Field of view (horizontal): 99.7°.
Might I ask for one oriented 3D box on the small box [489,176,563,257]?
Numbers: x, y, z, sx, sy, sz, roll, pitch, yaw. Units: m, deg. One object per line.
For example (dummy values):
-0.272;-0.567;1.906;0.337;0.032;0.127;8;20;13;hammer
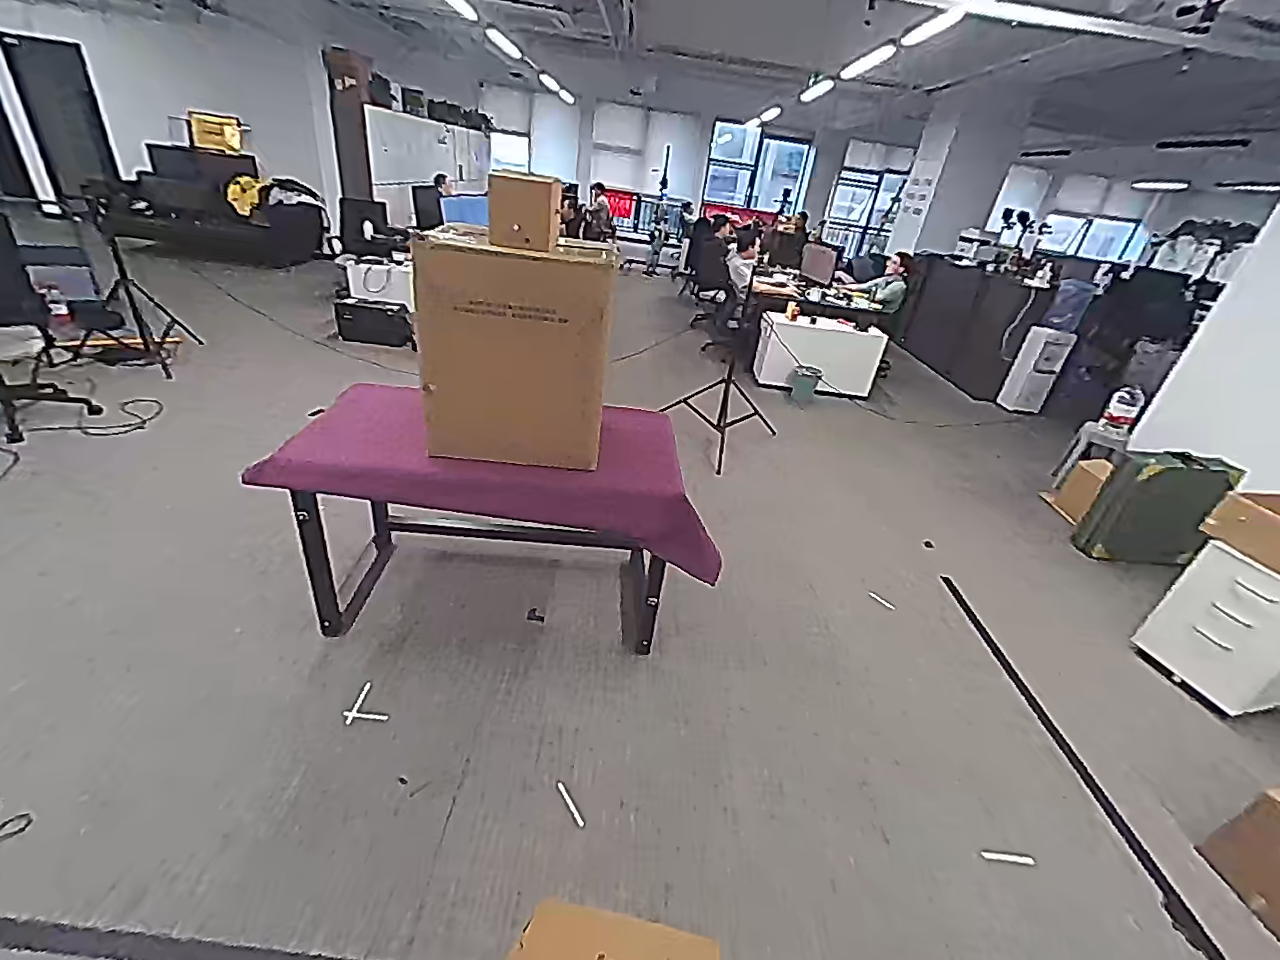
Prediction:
-0.307;-0.718;1.470;0.168;0.176;0.179;6;32;-2;small box
